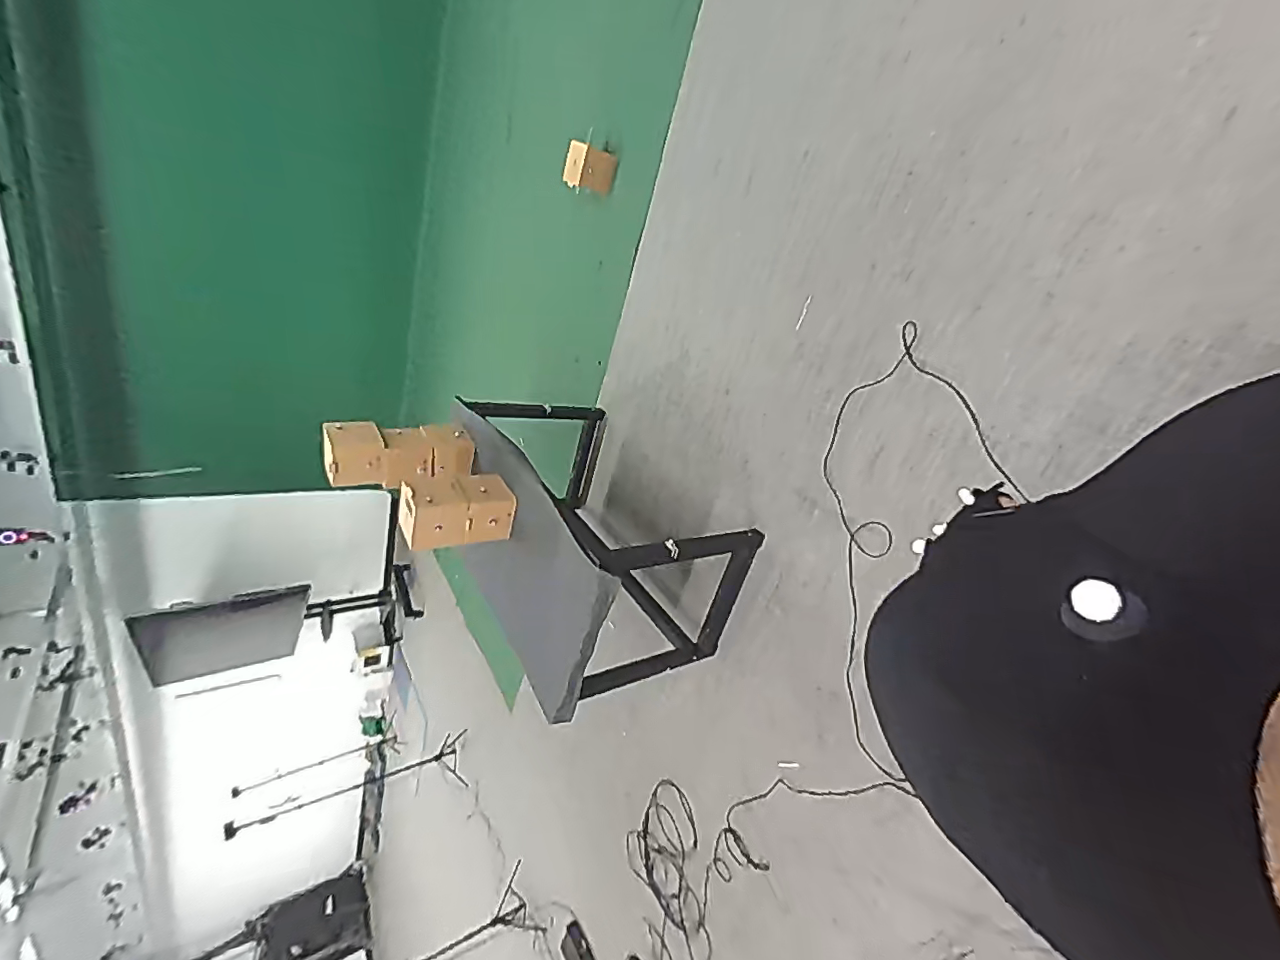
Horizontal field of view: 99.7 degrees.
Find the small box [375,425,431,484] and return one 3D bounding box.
[{"bbox_3d":[-0.900,-0.099,2.032,0.179,0.176,0.168,38,124,42],"label":"small box"}]

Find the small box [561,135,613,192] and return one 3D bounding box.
[{"bbox_3d":[-0.249,-1.498,2.561,0.168,0.176,0.179,45,126,39],"label":"small box"}]

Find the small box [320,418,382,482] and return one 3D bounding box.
[{"bbox_3d":[-1.033,-0.111,1.932,0.179,0.176,0.168,44,129,40],"label":"small box"}]

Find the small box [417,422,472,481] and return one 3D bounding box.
[{"bbox_3d":[-0.779,-0.117,2.138,0.168,0.176,0.179,47,128,38],"label":"small box"}]

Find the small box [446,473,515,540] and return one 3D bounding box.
[{"bbox_3d":[-0.551,0.083,1.870,0.179,0.176,0.168,43,125,40],"label":"small box"}]
